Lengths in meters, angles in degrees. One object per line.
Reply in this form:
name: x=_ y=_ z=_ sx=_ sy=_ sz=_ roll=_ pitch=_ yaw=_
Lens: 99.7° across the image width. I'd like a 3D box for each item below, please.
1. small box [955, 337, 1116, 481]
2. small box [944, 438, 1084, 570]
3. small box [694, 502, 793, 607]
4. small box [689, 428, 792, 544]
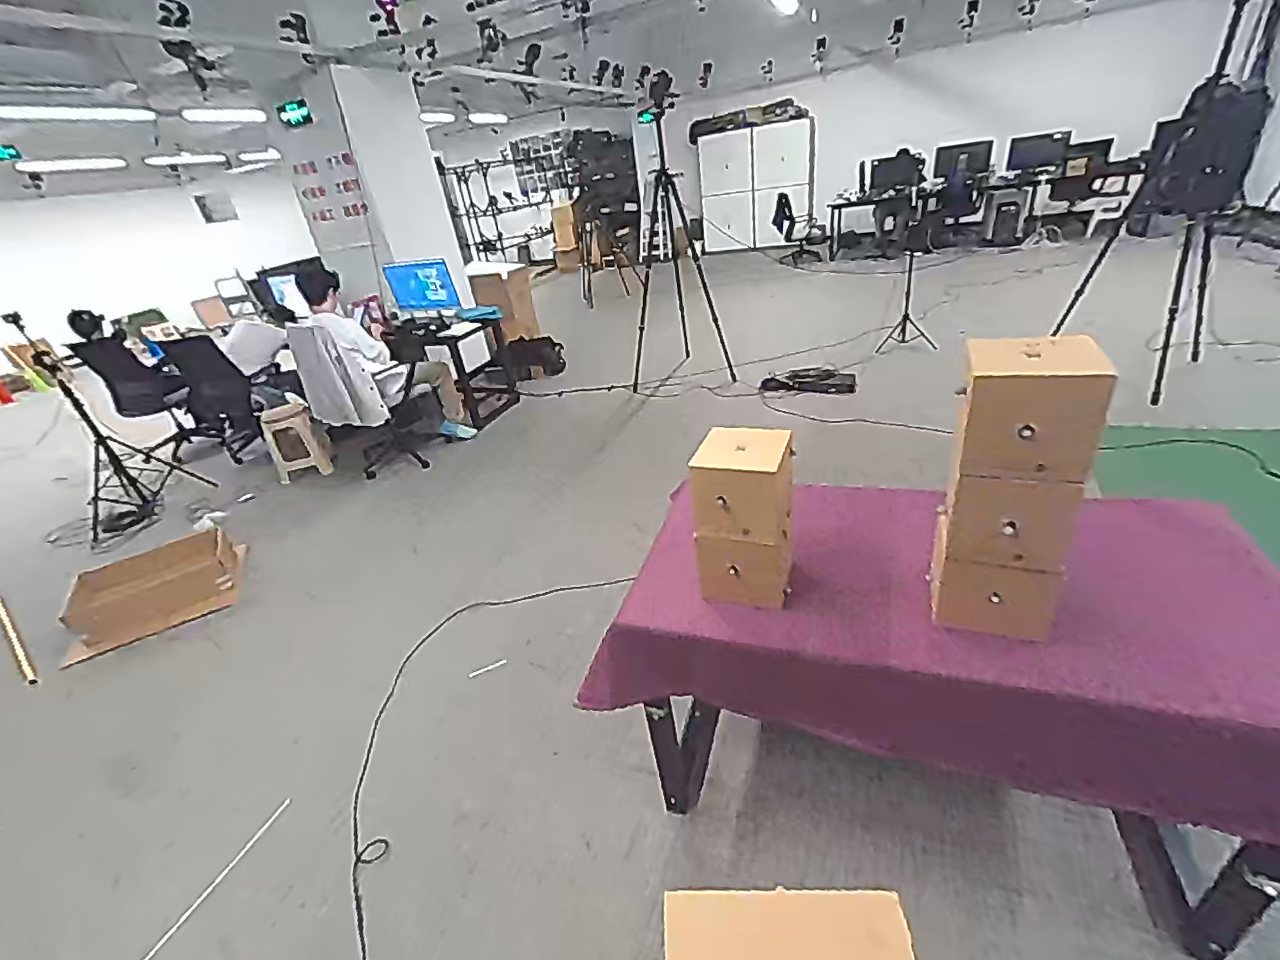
small box: x=0.597 y=-0.112 z=0.840 sx=0.168 sy=0.176 sz=0.179 roll=6 pitch=32 yaw=25
small box: x=0.624 y=0.030 z=0.921 sx=0.168 sy=0.176 sz=0.179 roll=6 pitch=34 yaw=26
small box: x=0.228 y=0.150 z=1.159 sx=0.179 sy=0.176 sz=0.168 roll=4 pitch=32 yaw=23
small box: x=0.208 y=0.009 z=1.080 sx=0.168 sy=0.176 sz=0.179 roll=5 pitch=31 yaw=23
